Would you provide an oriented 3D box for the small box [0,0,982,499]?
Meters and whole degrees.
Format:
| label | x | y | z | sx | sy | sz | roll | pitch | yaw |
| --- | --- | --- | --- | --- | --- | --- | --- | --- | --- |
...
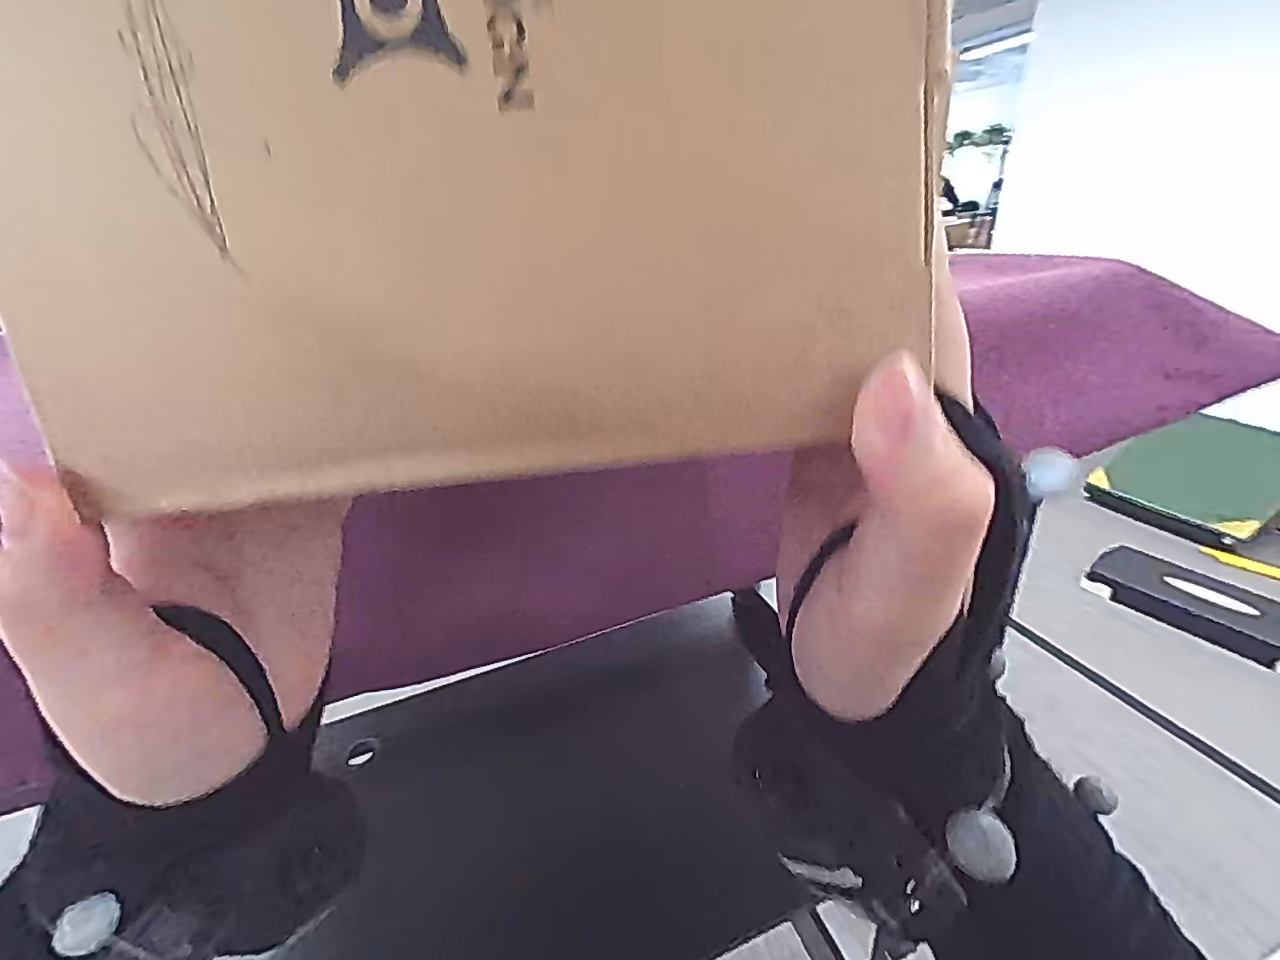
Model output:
| label | x | y | z | sx | sy | sz | roll | pitch | yaw |
| --- | --- | --- | --- | --- | --- | --- | --- | --- | --- |
| small box | -0.030 | -0.100 | 0.166 | 0.179 | 0.168 | 0.176 | -5 | 13 | 3 |
